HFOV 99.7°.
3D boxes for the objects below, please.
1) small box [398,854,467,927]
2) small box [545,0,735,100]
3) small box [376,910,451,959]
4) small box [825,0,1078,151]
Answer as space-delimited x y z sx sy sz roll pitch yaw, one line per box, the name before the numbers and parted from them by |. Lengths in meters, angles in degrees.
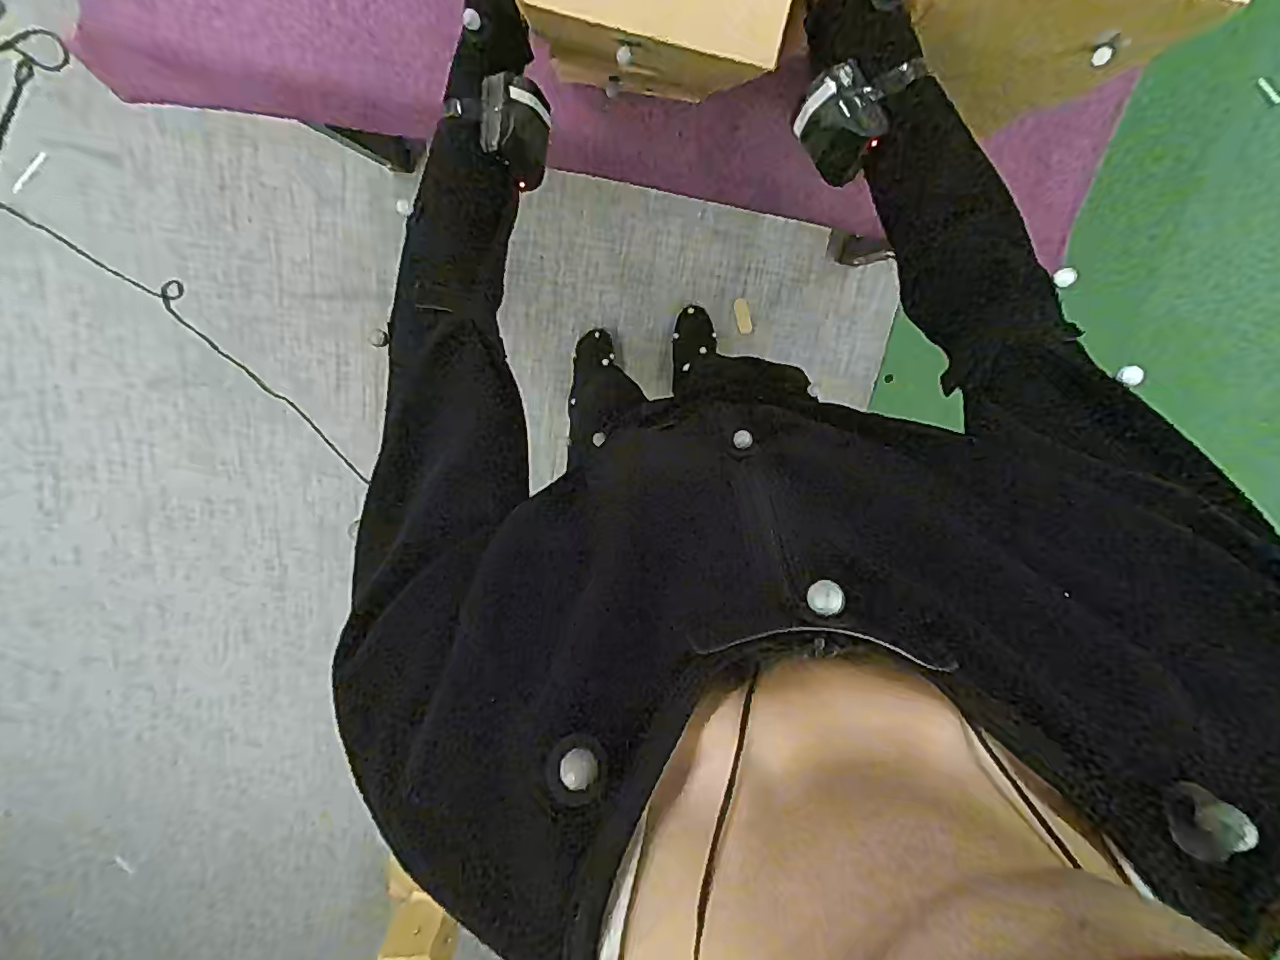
small box | -0.732 1.470 1.895 0.168 0.176 0.179 27 106 -7
small box | 0.004 -0.489 0.520 0.168 0.176 0.179 5 118 -7
small box | -0.727 1.527 1.742 0.179 0.176 0.168 -8 107 3
small box | 0.303 -0.460 0.541 0.168 0.176 0.179 12 106 -2
